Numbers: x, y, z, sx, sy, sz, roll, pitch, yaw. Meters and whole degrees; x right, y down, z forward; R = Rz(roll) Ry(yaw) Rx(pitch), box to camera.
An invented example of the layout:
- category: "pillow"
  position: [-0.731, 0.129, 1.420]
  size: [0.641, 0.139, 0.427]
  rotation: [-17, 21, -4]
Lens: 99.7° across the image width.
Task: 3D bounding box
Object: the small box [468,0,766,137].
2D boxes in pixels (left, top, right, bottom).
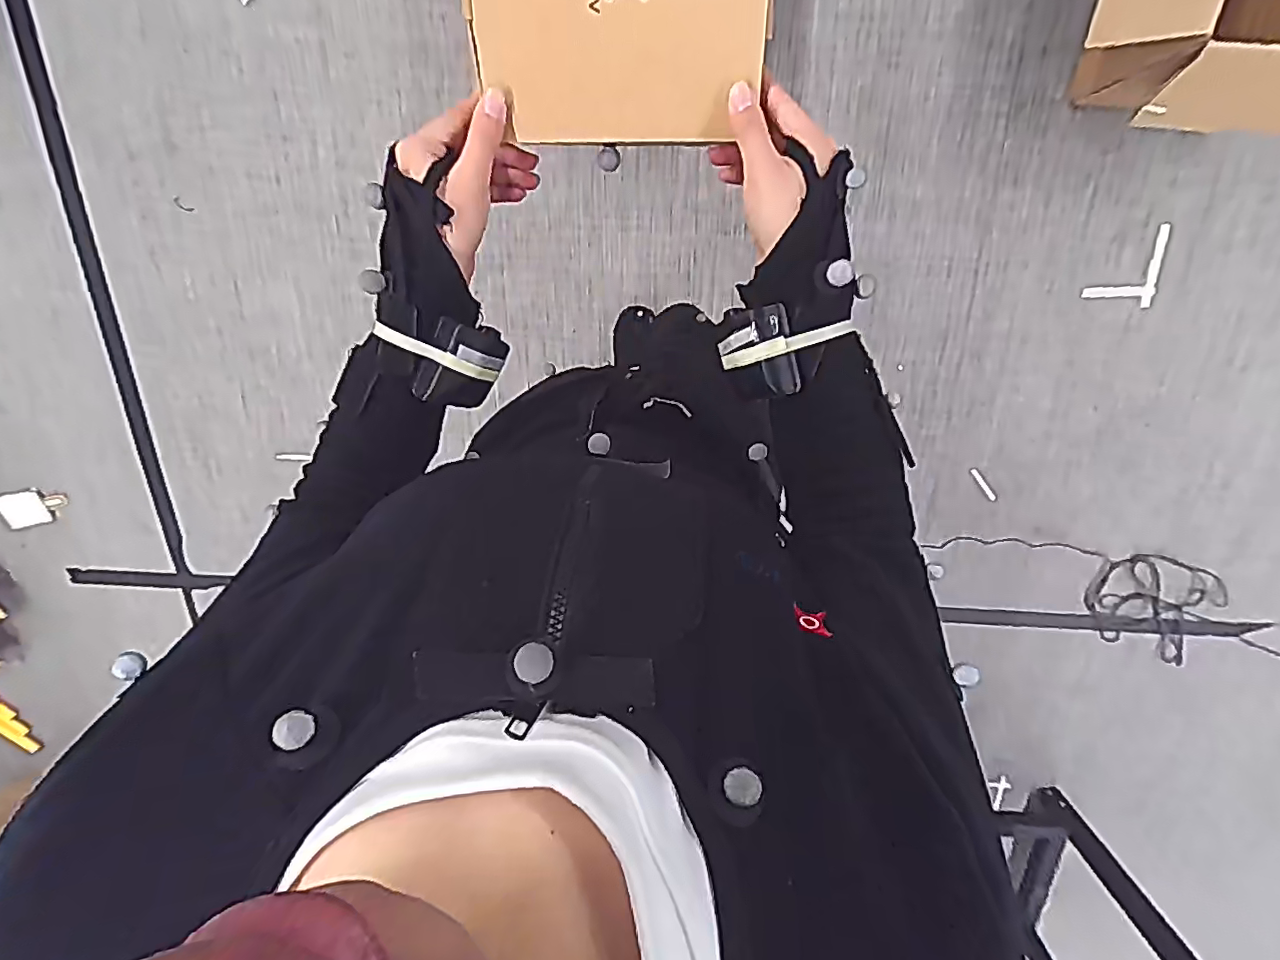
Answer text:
- category: "small box"
  position: [-0.015, -0.334, 0.370]
  size: [0.179, 0.176, 0.168]
  rotation: [-1, 122, -1]
